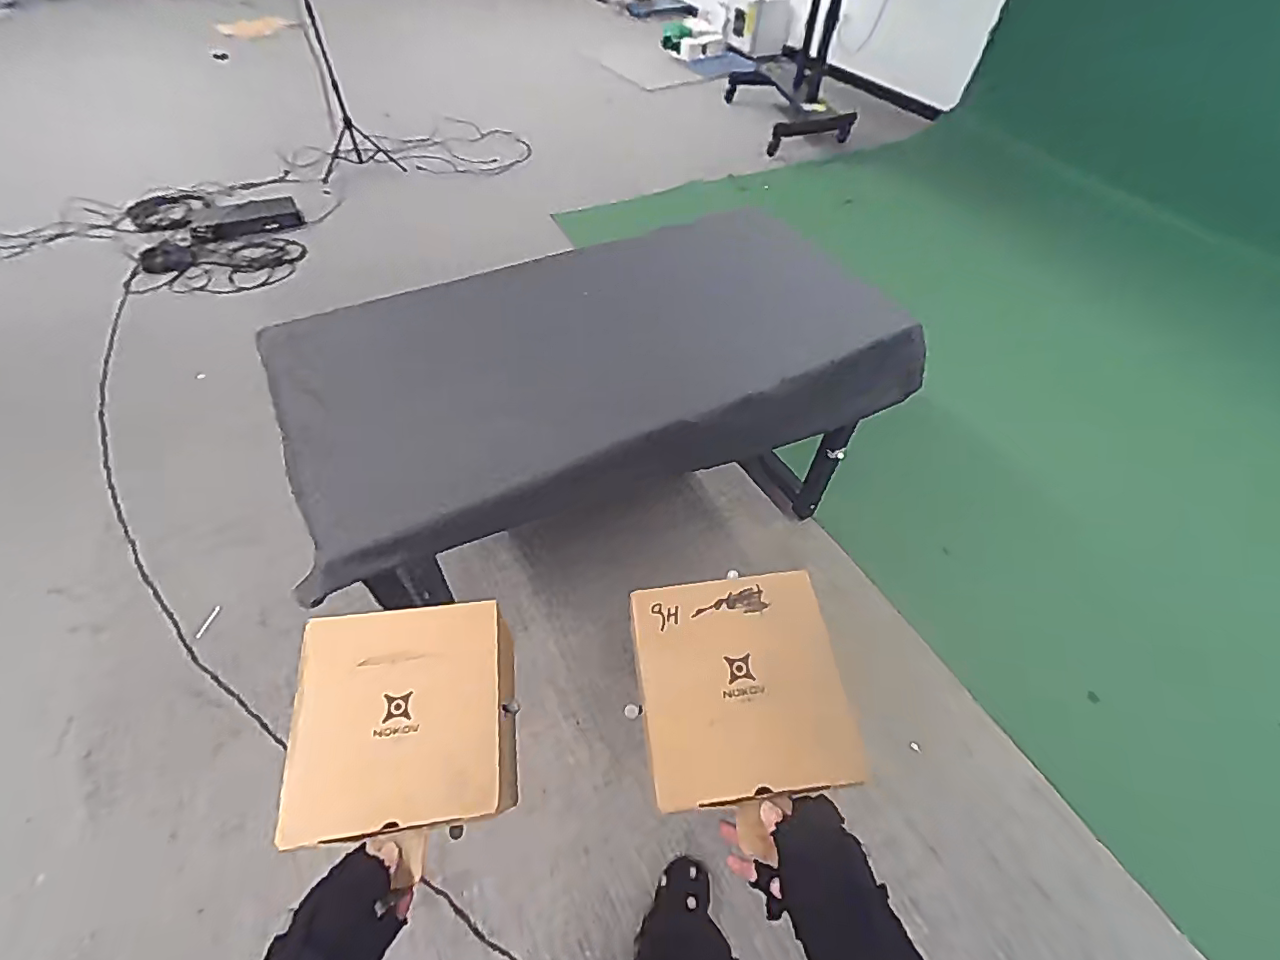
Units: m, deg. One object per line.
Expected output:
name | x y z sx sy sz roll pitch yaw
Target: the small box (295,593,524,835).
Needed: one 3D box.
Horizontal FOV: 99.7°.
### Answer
small box | -0.206 0.227 0.533 0.168 0.176 0.179 -4 61 -10
